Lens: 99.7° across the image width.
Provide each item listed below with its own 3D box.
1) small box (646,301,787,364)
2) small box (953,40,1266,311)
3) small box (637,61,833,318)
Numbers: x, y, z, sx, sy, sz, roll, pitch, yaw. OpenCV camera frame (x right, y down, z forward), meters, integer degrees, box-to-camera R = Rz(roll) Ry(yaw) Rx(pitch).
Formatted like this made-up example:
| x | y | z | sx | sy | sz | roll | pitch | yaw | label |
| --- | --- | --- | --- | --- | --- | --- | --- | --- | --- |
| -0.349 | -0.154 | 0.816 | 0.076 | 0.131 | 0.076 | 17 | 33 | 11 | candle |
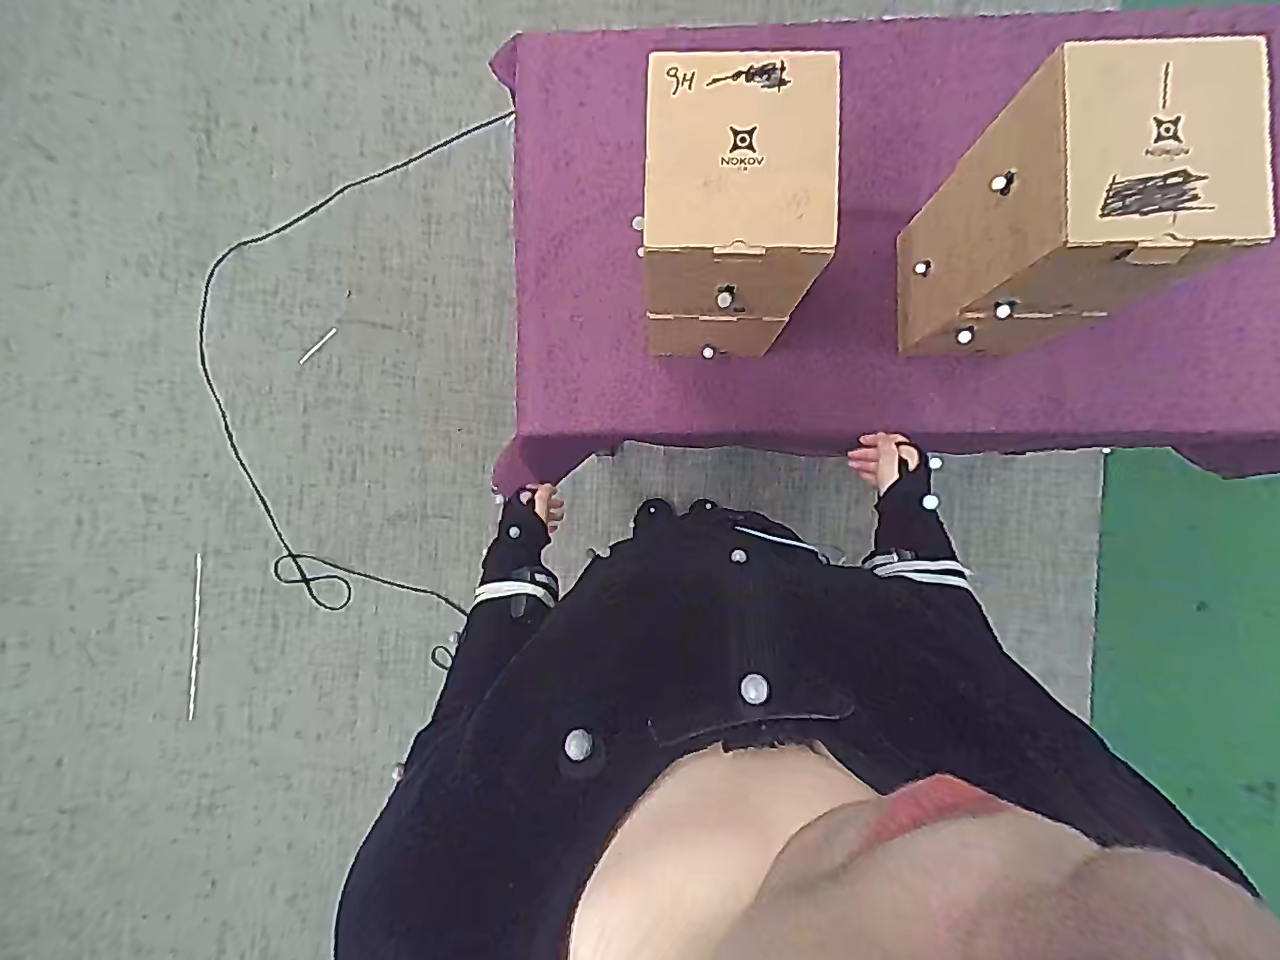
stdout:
| x | y | z | sx | sy | sz | roll | pitch | yaw | label |
| --- | --- | --- | --- | --- | --- | --- | --- | --- | --- |
| 0.093 | -0.261 | 0.709 | 0.168 | 0.176 | 0.179 | 1 | 88 | 3 | small box |
| 0.432 | -0.275 | 0.529 | 0.168 | 0.176 | 0.179 | 0 | 86 | 3 | small box |
| 0.086 | -0.272 | 0.545 | 0.168 | 0.176 | 0.179 | 1 | 88 | 2 | small box |
